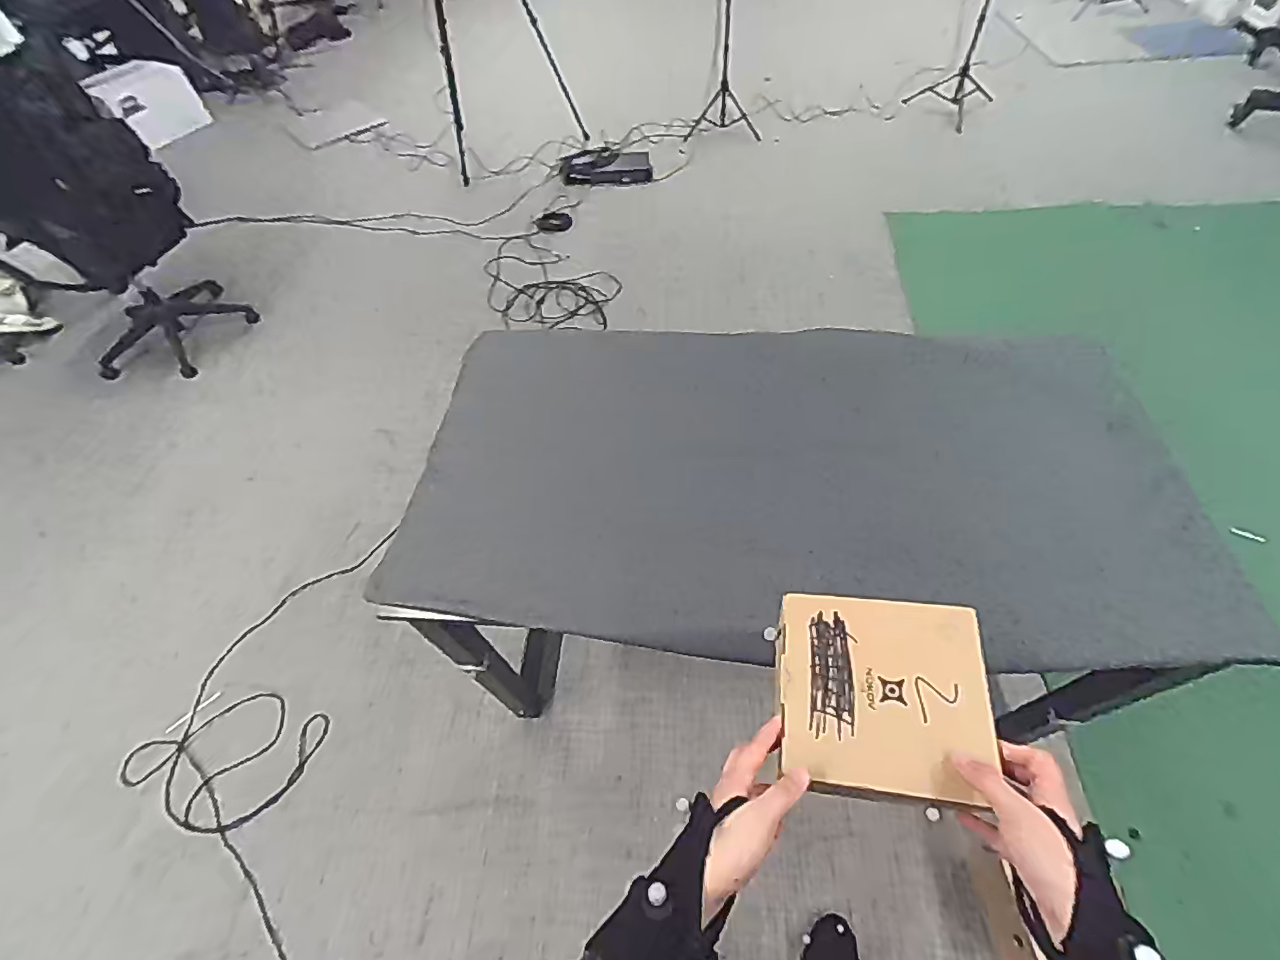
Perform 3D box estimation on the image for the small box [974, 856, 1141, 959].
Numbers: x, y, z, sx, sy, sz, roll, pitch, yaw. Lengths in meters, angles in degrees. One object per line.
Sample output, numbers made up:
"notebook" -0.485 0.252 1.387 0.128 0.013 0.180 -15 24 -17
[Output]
"small box" 0.778 0.824 1.025 0.168 0.176 0.179 -5 54 2
